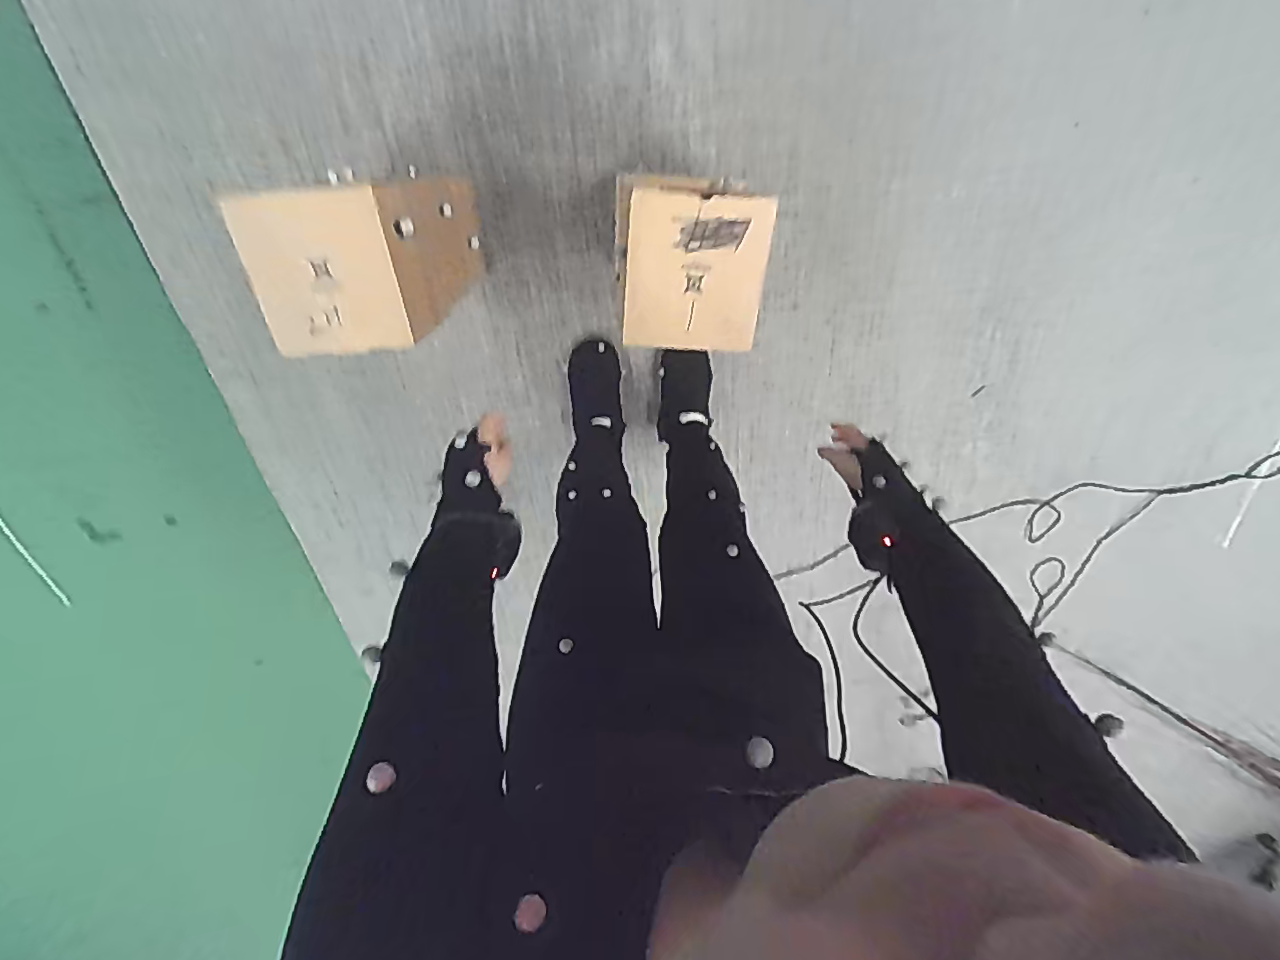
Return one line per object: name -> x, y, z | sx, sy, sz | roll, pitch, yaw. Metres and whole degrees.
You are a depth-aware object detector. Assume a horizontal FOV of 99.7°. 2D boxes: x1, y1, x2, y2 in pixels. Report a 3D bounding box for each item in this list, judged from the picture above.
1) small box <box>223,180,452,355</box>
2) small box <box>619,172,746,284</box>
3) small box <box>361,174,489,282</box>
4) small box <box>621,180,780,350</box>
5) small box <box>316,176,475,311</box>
small box -> -0.355, -0.270, 0.677 | 0.168, 0.176, 0.179 | -4, 120, 1
small box -> 0.054, -0.370, 0.832 | 0.168, 0.176, 0.179 | 0, 121, -3
small box -> -0.375, -0.437, 0.958 | 0.168, 0.176, 0.179 | -3, 121, -2
small box -> 0.063, -0.281, 0.695 | 0.168, 0.176, 0.179 | 2, 122, -4
small box -> -0.365, -0.355, 0.818 | 0.168, 0.176, 0.179 | -5, 121, 1
